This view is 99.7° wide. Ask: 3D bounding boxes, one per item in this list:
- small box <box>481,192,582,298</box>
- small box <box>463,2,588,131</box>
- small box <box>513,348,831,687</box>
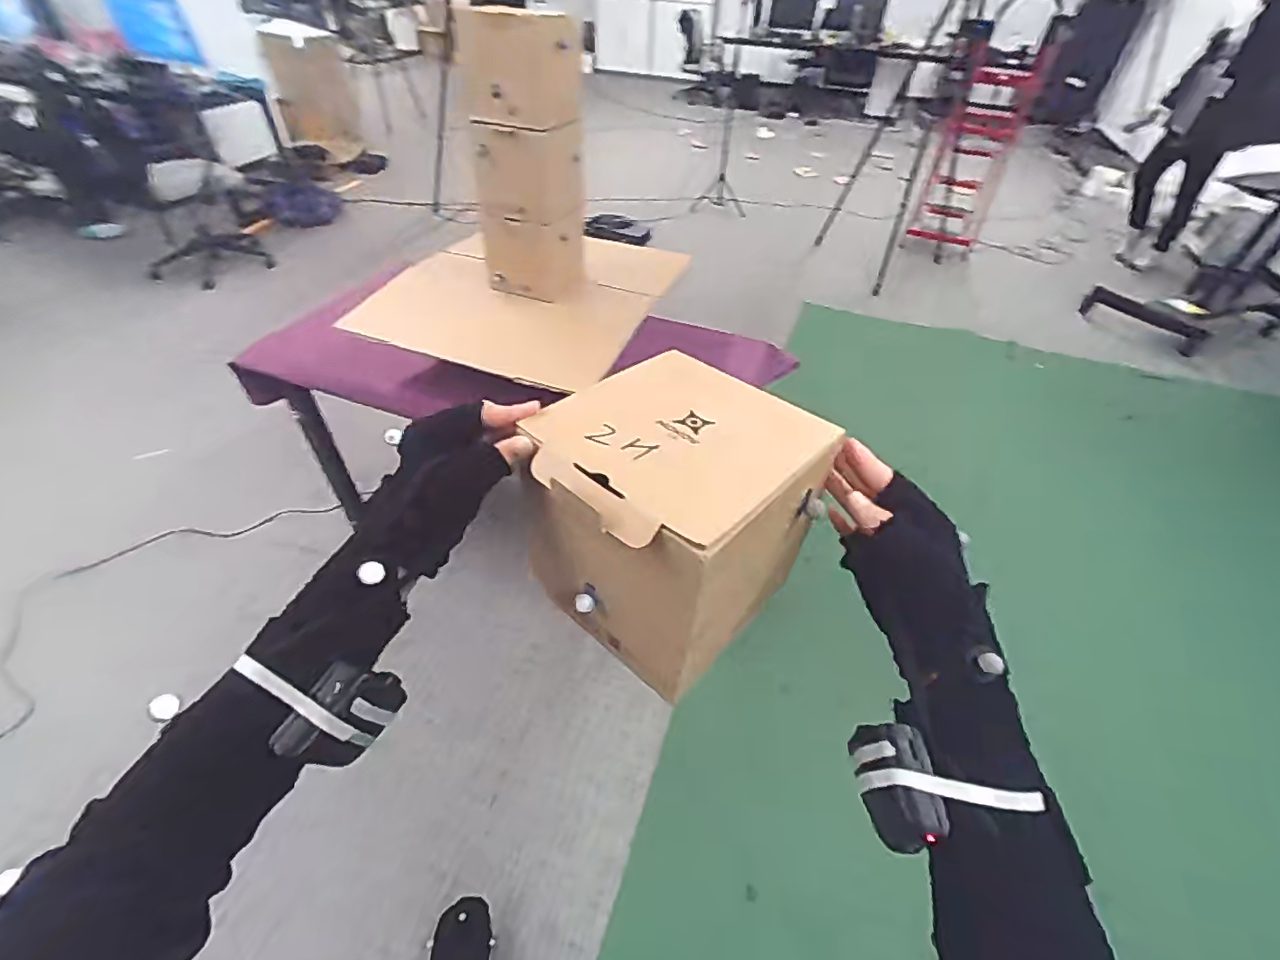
[{"bbox_3d":[-0.237,-0.539,1.245,0.168,0.176,0.179,16,45,12],"label":"small box"},{"bbox_3d":[-0.211,-0.783,1.027,0.168,0.176,0.179,17,44,12],"label":"small box"},{"bbox_3d":[0.020,0.022,0.434,0.168,0.176,0.179,31,47,29],"label":"small box"}]
